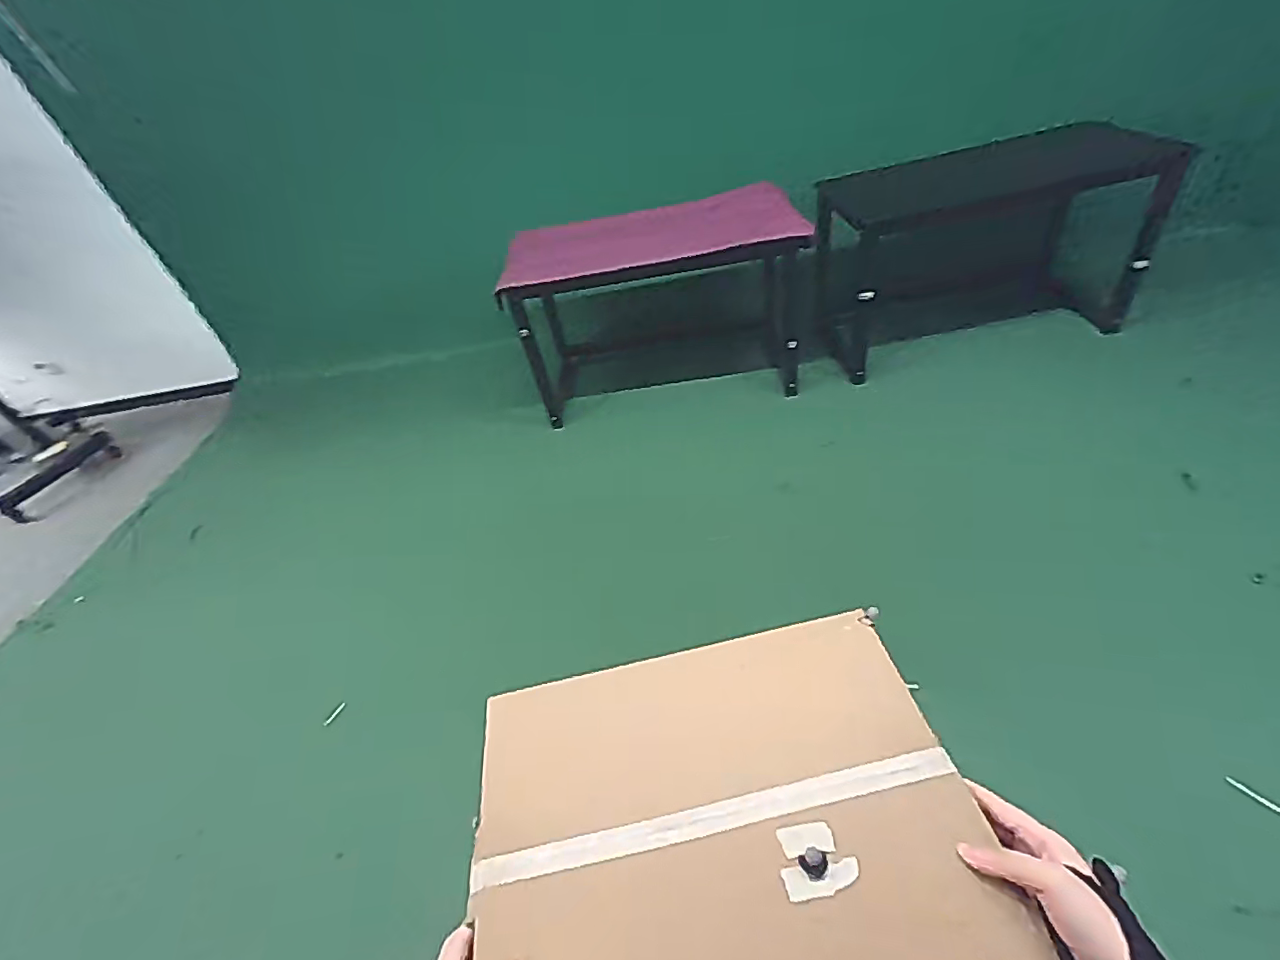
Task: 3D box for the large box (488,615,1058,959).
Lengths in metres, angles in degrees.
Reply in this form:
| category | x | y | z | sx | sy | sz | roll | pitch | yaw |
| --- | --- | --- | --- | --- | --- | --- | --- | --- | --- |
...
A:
| category | x | y | z | sx | sy | sz | roll | pitch | yaw |
| --- | --- | --- | --- | --- | --- | --- | --- | --- | --- |
| large box | 0.088 | 0.394 | 0.557 | 0.408 | 0.320 | 0.320 | -12 | 41 | -1 |
